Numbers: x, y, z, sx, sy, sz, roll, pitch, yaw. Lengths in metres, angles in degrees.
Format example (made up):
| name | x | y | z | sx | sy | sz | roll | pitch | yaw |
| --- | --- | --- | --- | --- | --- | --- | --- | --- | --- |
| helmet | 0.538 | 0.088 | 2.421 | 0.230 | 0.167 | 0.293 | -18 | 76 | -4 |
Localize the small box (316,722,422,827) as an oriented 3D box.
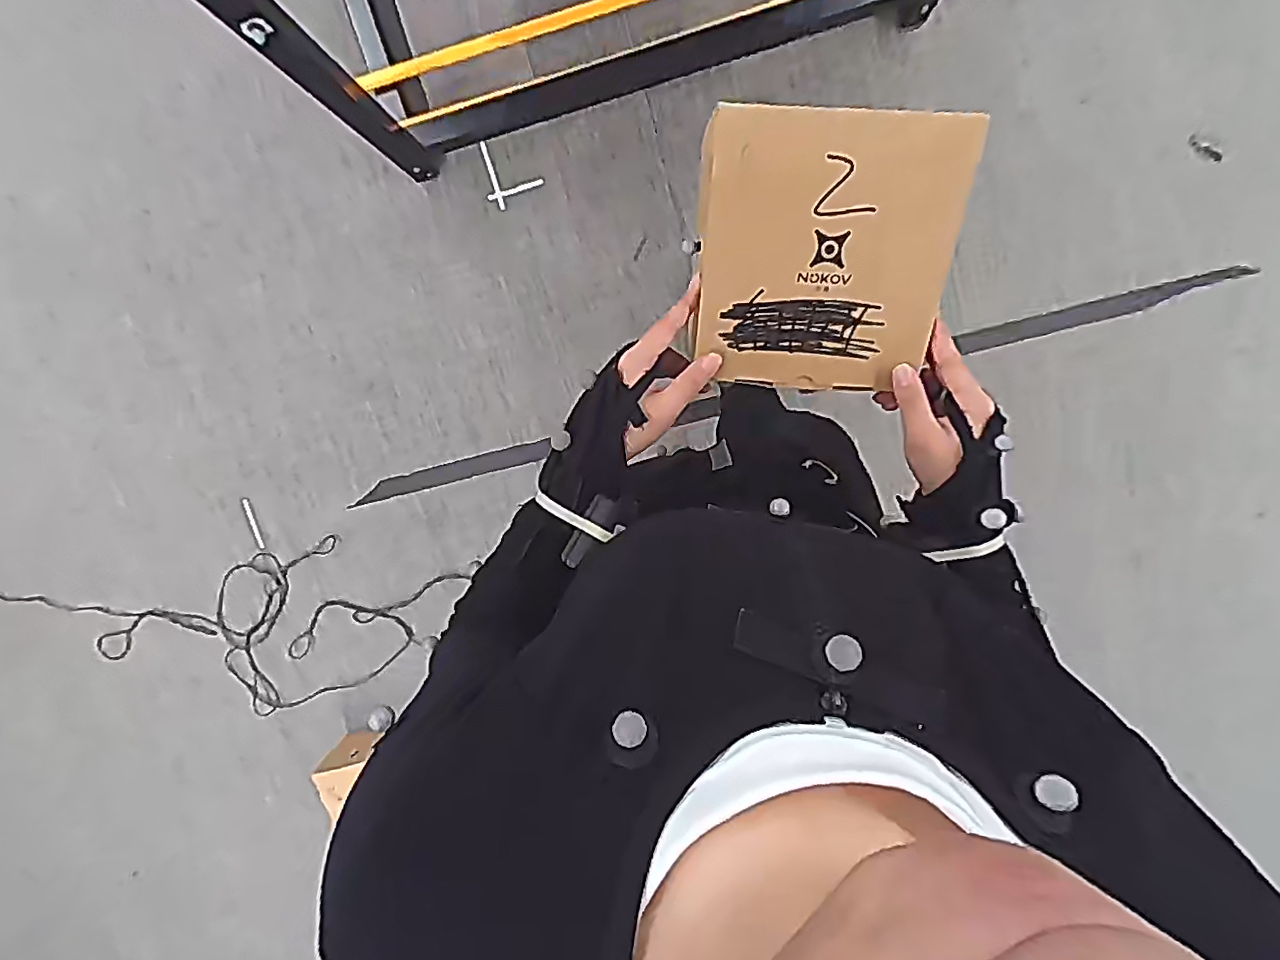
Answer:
| name | x | y | z | sx | sy | sz | roll | pitch | yaw |
| --- | --- | --- | --- | --- | --- | --- | --- | --- | --- |
| small box | -0.709 | 0.777 | 1.445 | 0.179 | 0.176 | 0.168 | -16 | 98 | 5 |
